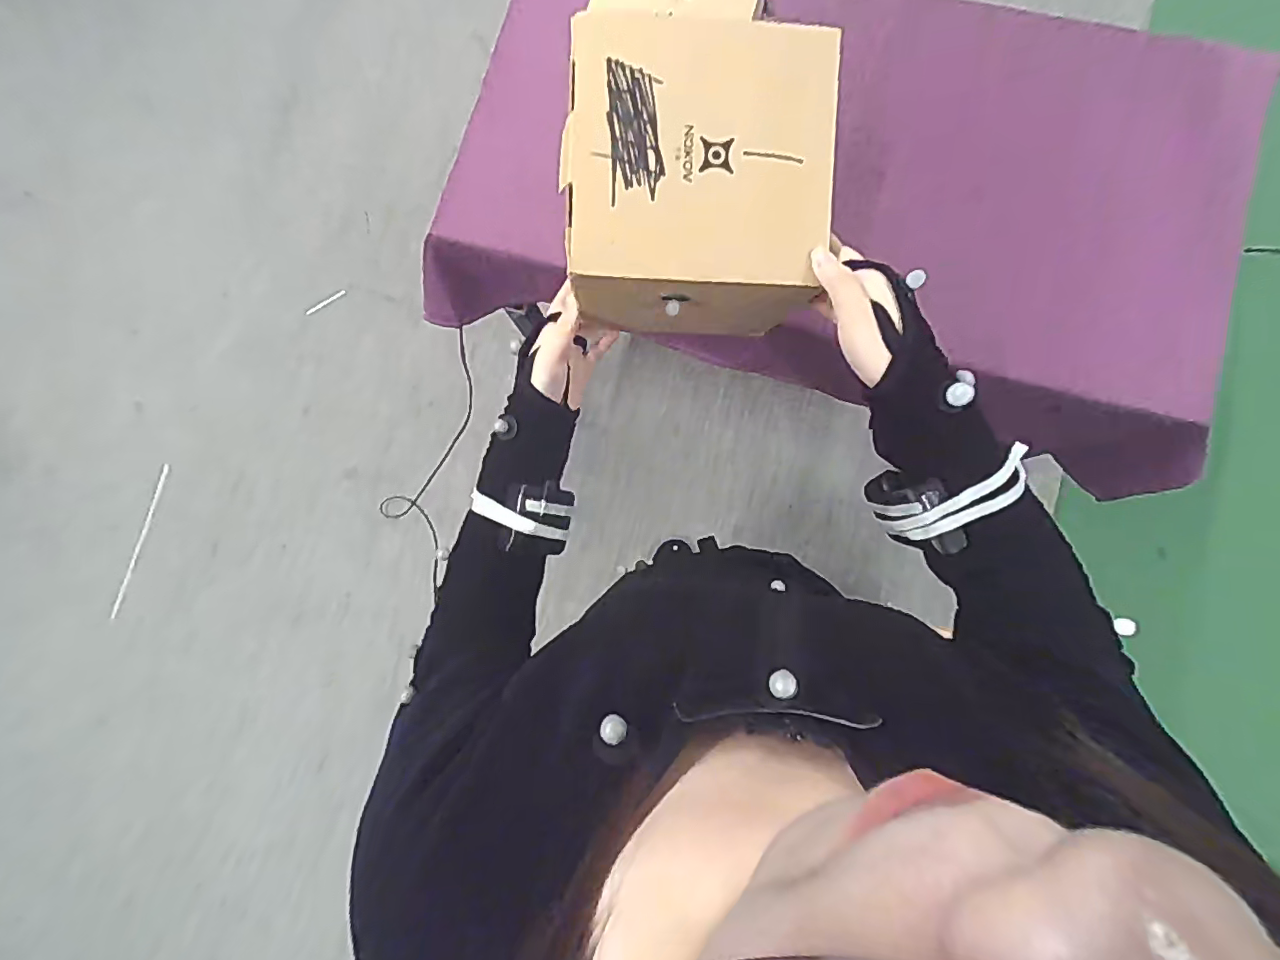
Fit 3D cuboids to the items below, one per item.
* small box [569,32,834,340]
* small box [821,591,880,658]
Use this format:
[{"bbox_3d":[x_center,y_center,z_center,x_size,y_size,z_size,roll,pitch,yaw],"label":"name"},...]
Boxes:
[{"bbox_3d":[0.038,-0.214,0.440,0.179,0.176,0.168,1,94,-3],"label":"small box"},{"bbox_3d":[0.583,0.389,1.379,0.179,0.176,0.168,20,85,5],"label":"small box"}]
